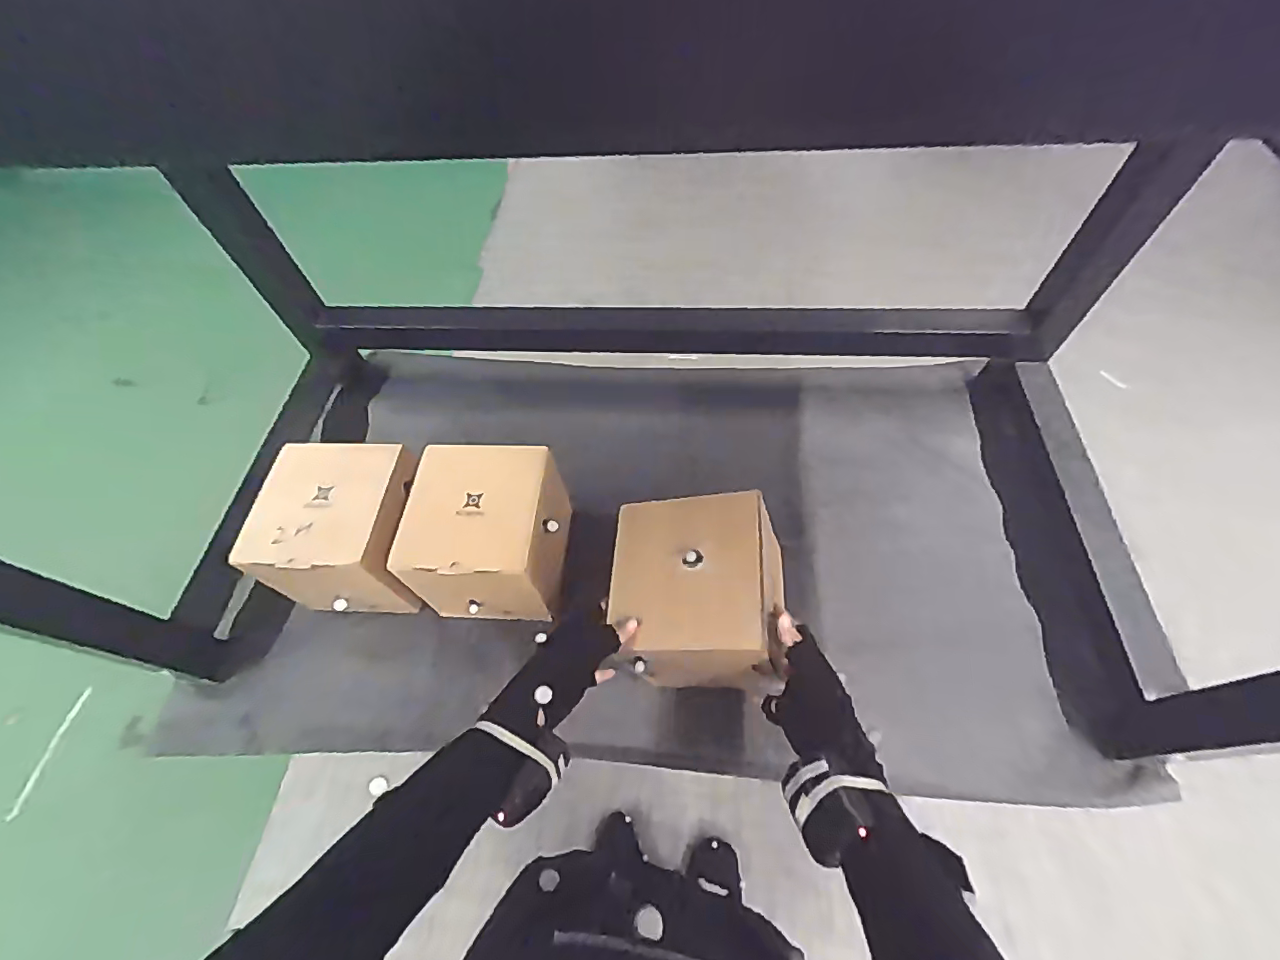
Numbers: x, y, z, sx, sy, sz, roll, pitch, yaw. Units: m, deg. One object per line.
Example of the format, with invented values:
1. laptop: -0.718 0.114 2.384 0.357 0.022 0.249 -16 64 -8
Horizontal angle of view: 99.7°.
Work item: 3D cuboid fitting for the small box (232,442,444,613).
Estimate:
1. small box: -0.387 0.066 0.736 0.168 0.176 0.179 0 58 6
